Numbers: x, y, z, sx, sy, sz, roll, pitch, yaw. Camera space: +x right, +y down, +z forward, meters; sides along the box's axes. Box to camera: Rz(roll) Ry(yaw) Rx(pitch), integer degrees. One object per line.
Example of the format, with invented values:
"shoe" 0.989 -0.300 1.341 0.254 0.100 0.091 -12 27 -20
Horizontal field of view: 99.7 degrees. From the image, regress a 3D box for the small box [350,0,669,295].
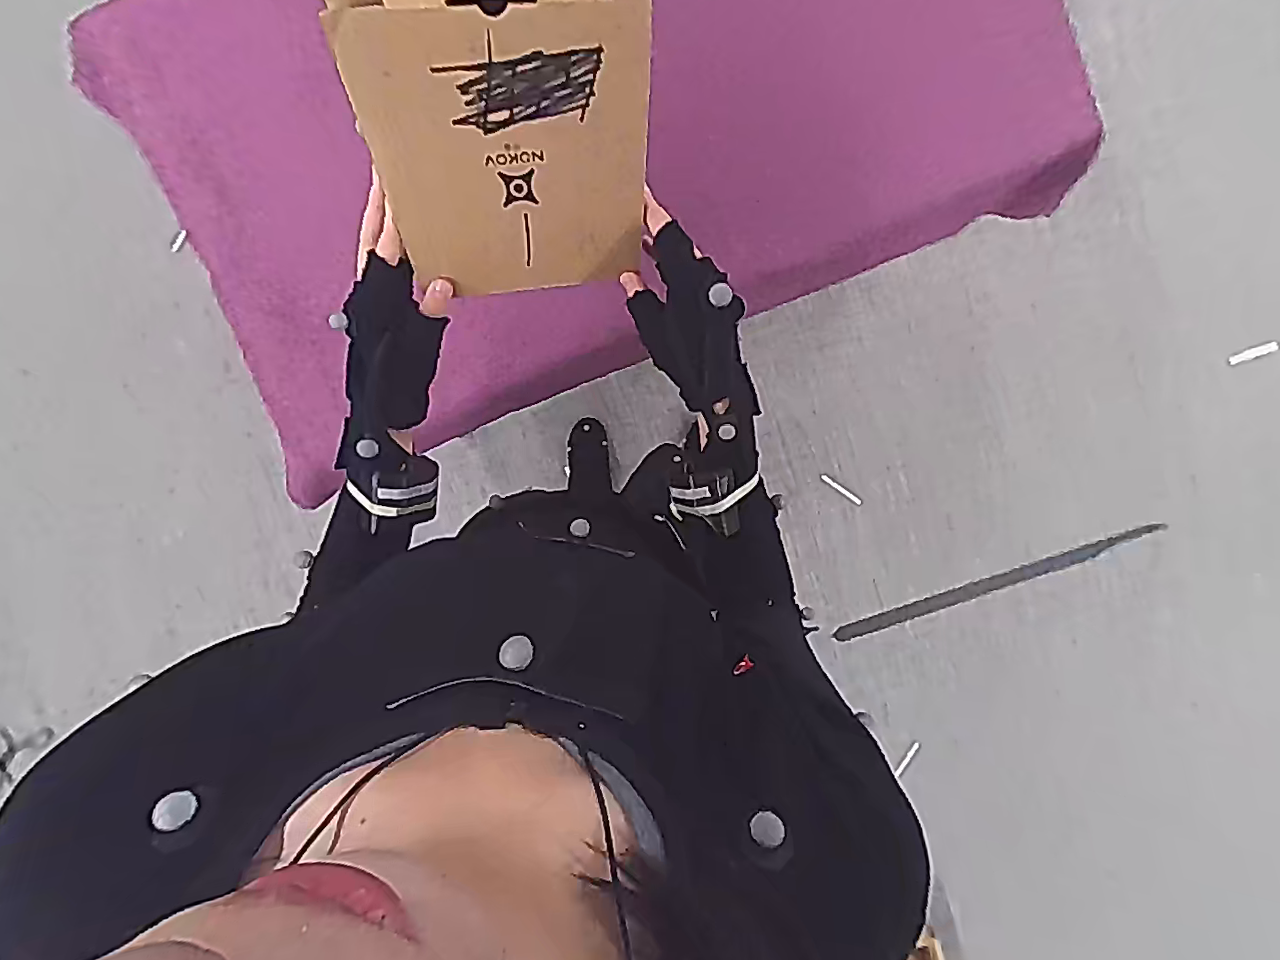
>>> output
"small box" -0.085 -0.262 0.384 0.168 0.179 0.176 -9 56 -9
